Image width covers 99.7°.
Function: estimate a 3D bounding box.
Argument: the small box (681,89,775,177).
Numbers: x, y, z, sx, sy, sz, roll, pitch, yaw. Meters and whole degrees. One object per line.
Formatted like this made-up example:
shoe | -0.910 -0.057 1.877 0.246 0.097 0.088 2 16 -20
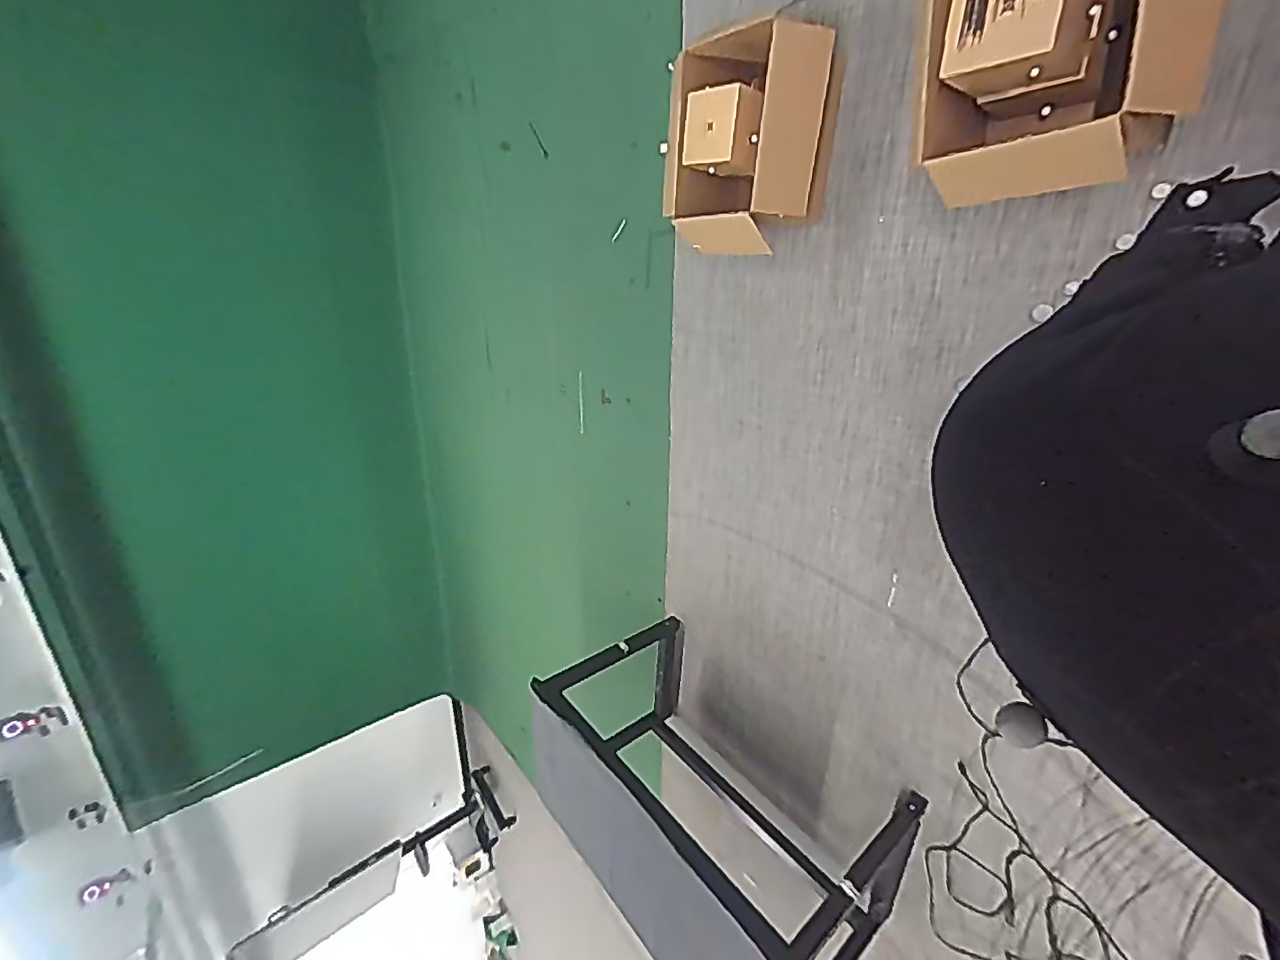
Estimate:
small box | 0.233 -0.911 1.434 0.179 0.176 0.168 26 120 43
